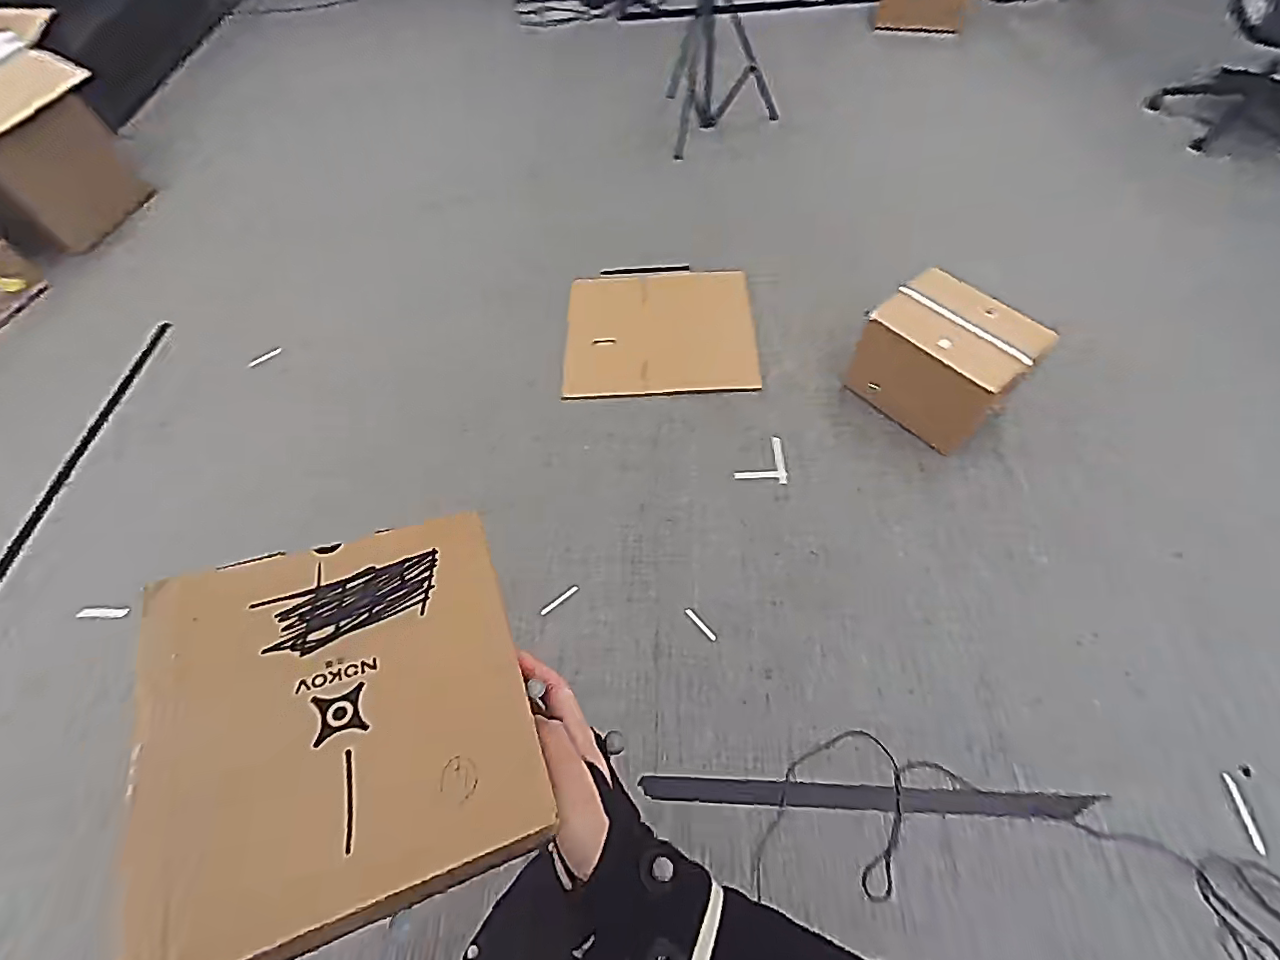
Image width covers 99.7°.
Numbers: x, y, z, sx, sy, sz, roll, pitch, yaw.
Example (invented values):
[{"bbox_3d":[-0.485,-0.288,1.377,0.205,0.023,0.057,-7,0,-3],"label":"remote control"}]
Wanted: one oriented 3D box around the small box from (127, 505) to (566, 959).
[{"bbox_3d":[-0.150,0.144,0.326,0.168,0.176,0.179,-13,58,-19],"label":"small box"}]
